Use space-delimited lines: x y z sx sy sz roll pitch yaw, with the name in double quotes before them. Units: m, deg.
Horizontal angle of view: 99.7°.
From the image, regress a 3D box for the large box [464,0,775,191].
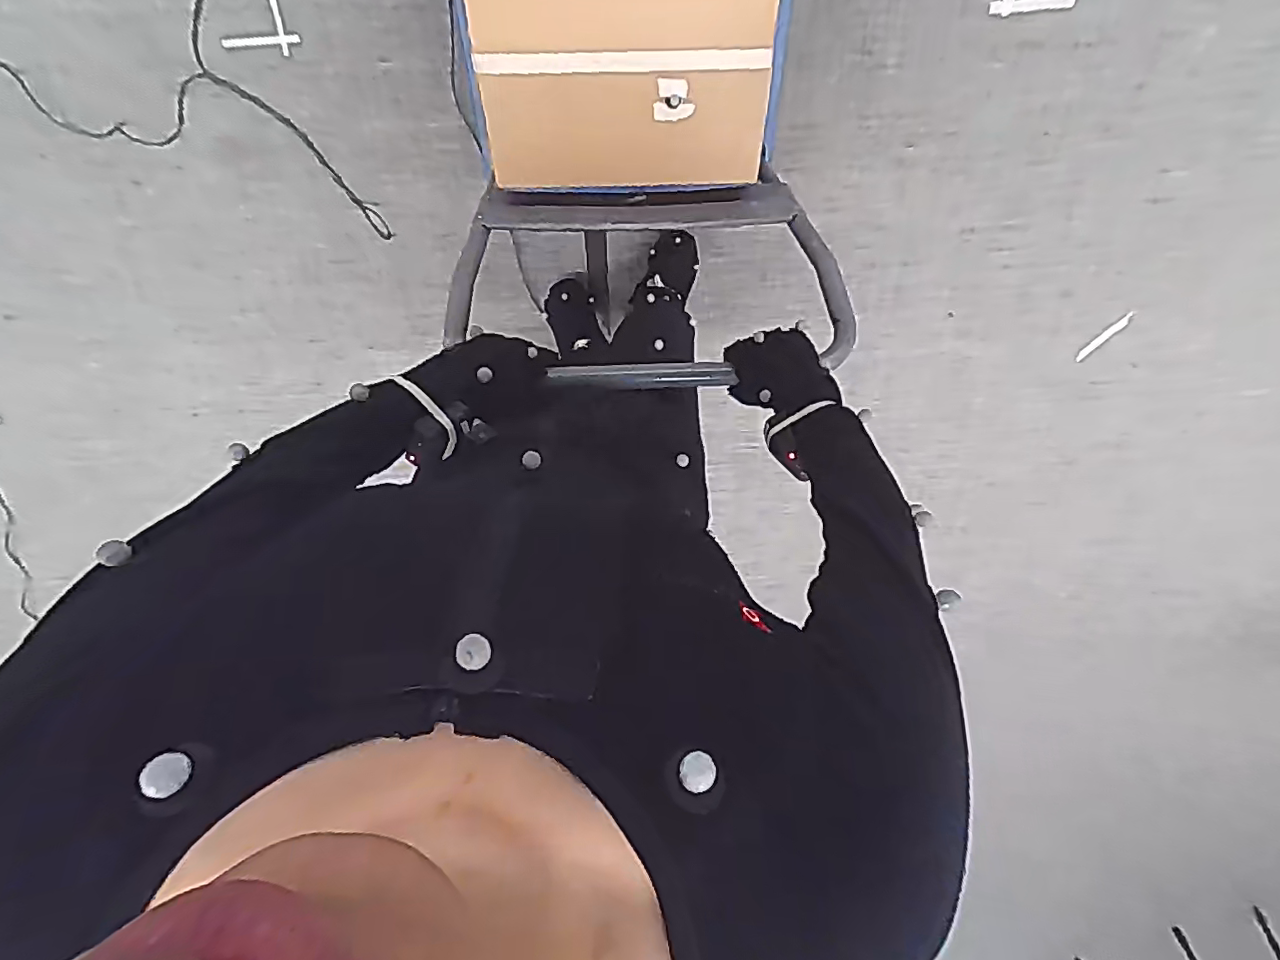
"large box" -0.033 -0.668 0.835 0.408 0.320 0.320 -3 134 -2
